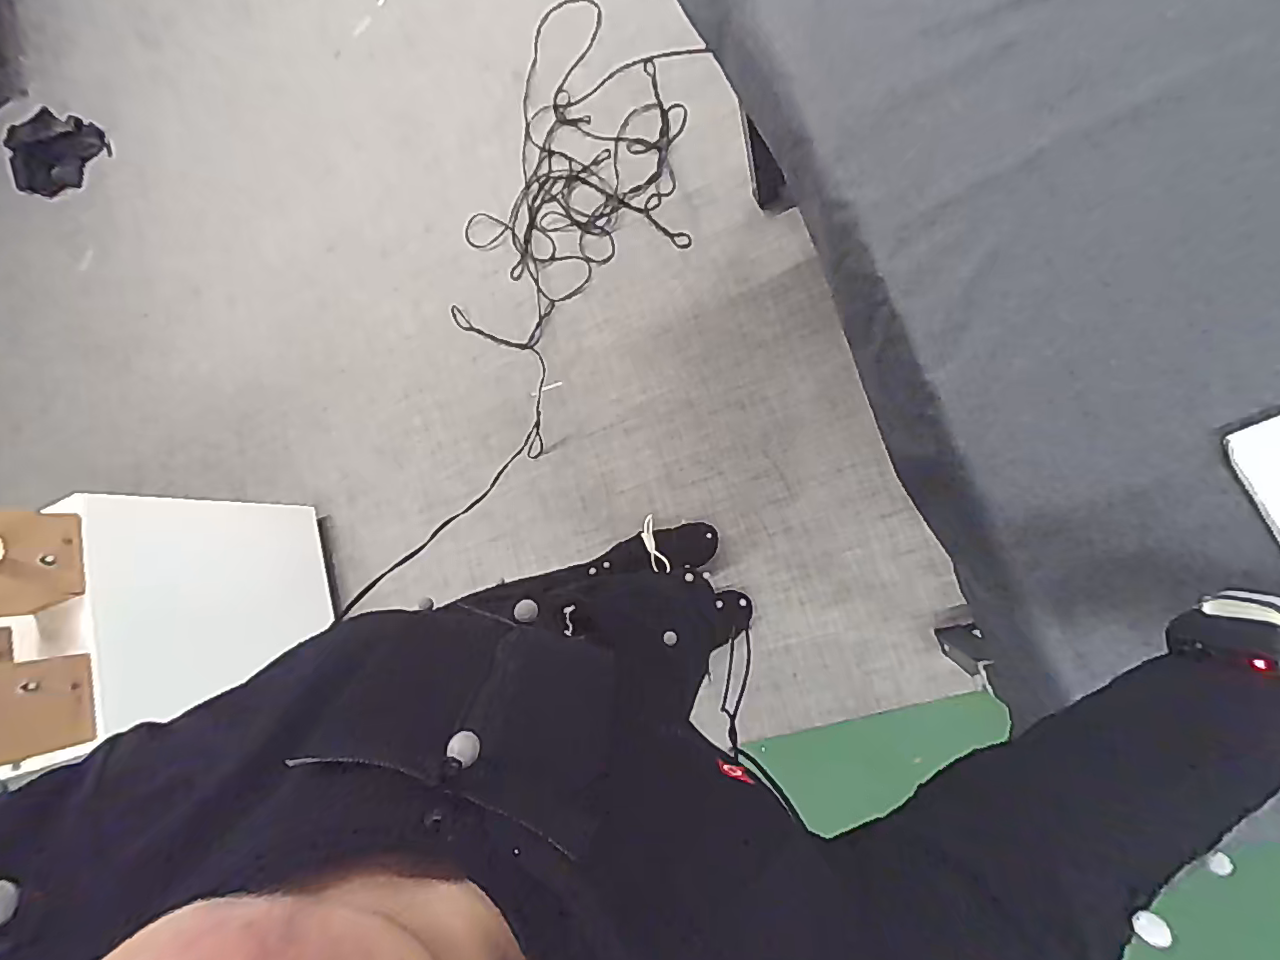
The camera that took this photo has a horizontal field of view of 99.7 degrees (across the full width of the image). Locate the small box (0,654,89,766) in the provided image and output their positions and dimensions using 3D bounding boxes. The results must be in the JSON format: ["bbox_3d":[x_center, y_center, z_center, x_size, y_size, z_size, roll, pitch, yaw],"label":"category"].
[{"bbox_3d":[-1.134,0.421,0.962,0.179,0.176,0.168,-19,77,16],"label":"small box"}]

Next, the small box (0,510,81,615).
[{"bbox_3d":[-1.208,0.160,1.012,0.179,0.176,0.168,-19,79,15],"label":"small box"}]
